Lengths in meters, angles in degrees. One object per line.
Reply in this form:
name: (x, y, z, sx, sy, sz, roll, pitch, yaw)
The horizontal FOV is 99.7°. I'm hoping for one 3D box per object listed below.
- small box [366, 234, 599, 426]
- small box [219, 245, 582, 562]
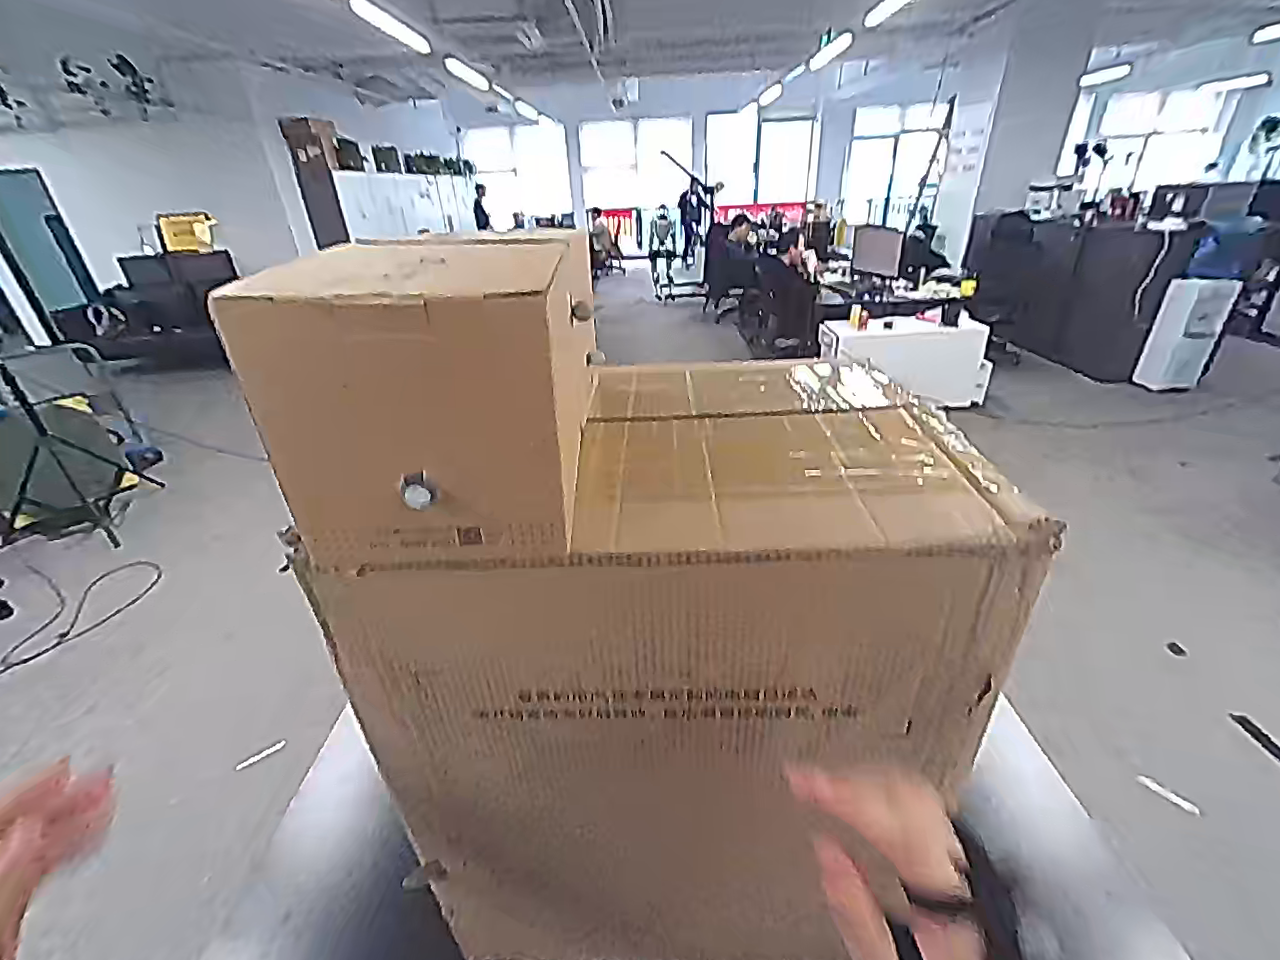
small box: (-0.139, -0.148, 0.537, 0.179, 0.176, 0.168, -1, 27, 1)
small box: (-0.130, -0.061, 0.377, 0.168, 0.176, 0.179, -2, 32, -2)
